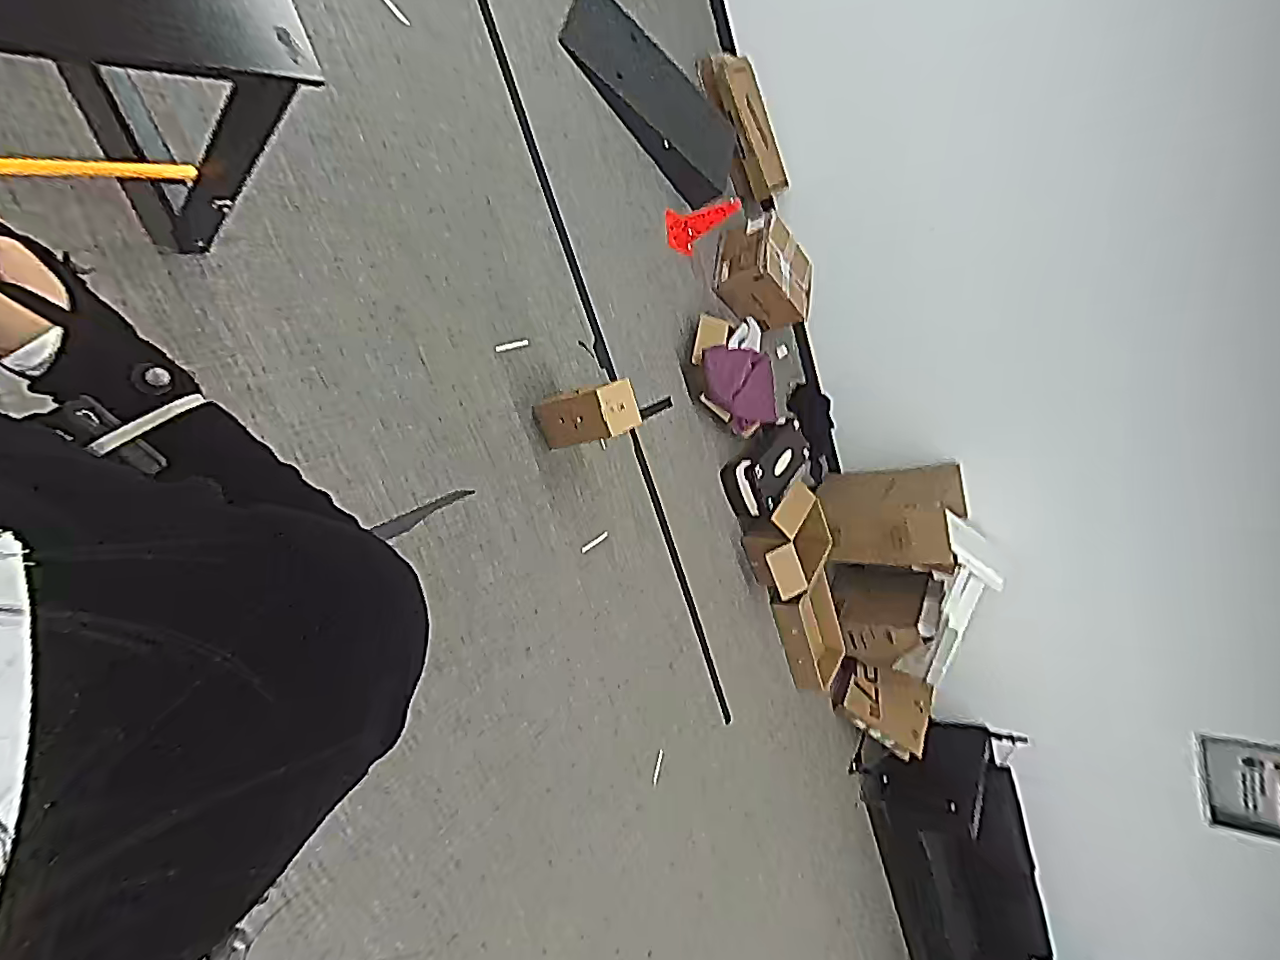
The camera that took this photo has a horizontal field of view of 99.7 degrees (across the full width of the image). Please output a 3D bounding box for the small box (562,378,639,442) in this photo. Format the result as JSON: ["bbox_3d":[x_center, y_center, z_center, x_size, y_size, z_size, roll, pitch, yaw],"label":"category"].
[{"bbox_3d":[-0.136,-0.239,1.862,0.179,0.176,0.168,-32,109,-46],"label":"small box"}]

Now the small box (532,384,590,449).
[{"bbox_3d":[-0.262,-0.230,1.969,0.168,0.176,0.179,-37,113,-45],"label":"small box"}]
